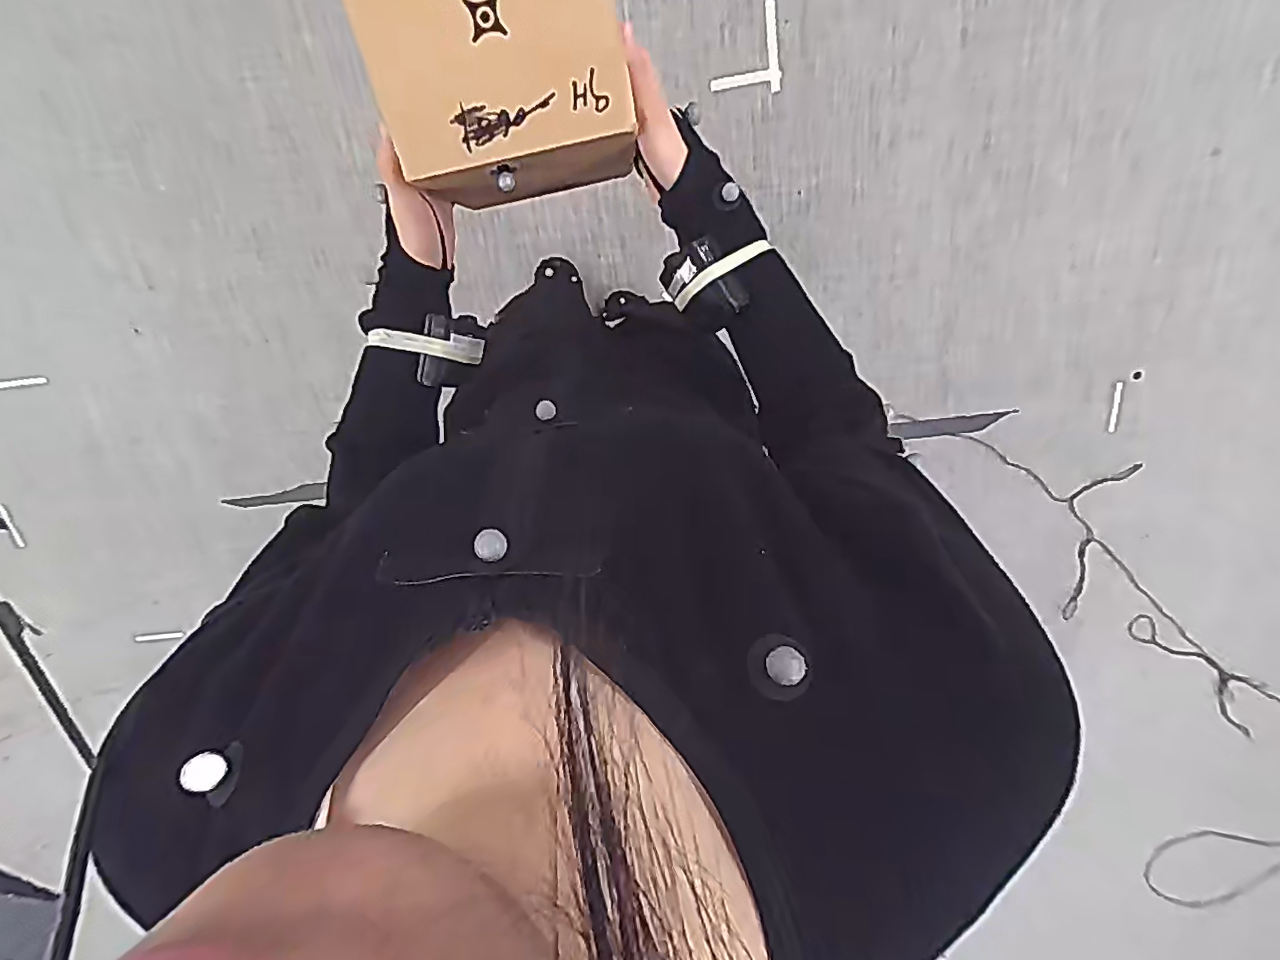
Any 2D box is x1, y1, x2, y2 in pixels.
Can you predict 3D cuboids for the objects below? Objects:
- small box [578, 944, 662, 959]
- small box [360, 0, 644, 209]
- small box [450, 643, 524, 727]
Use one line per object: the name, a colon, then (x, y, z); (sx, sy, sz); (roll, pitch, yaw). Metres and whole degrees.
small box: (-0.034, 1.023, 1.026); (0.168, 0.176, 0.179); (-5, 111, 2)
small box: (-0.096, -0.327, 0.413); (0.168, 0.176, 0.179); (-11, 110, 2)
small box: (-0.463, 0.619, 1.652); (0.179, 0.176, 0.168); (9, 108, -5)
